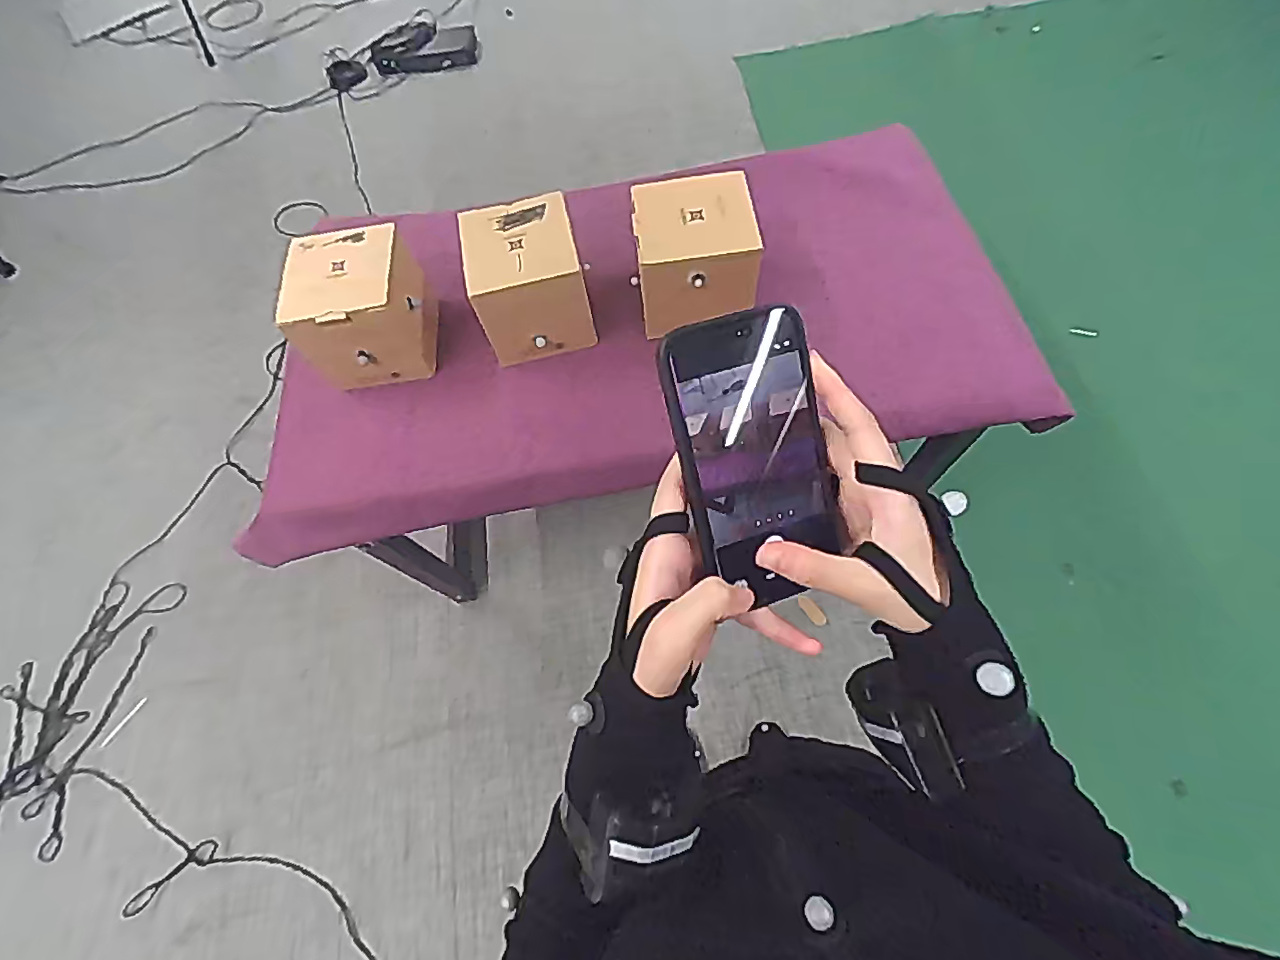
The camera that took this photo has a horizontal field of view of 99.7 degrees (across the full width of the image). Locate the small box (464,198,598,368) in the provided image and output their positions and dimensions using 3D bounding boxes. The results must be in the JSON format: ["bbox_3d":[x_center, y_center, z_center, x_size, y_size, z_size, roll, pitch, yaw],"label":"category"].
[{"bbox_3d":[-0.172,-0.312,0.874,0.168,0.176,0.179,-13,65,0],"label":"small box"}]

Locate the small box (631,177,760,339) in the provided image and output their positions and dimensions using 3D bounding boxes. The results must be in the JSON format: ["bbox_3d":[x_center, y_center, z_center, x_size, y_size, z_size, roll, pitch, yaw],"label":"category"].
[{"bbox_3d":[0.086,-0.345,0.864,0.179,0.176,0.168,-6,65,3],"label":"small box"}]

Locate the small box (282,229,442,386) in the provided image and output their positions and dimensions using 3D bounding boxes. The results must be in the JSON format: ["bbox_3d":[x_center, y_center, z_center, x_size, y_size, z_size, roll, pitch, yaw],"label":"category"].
[{"bbox_3d":[-0.436,-0.268,0.879,0.168,0.176,0.179,-8,65,2],"label":"small box"}]
